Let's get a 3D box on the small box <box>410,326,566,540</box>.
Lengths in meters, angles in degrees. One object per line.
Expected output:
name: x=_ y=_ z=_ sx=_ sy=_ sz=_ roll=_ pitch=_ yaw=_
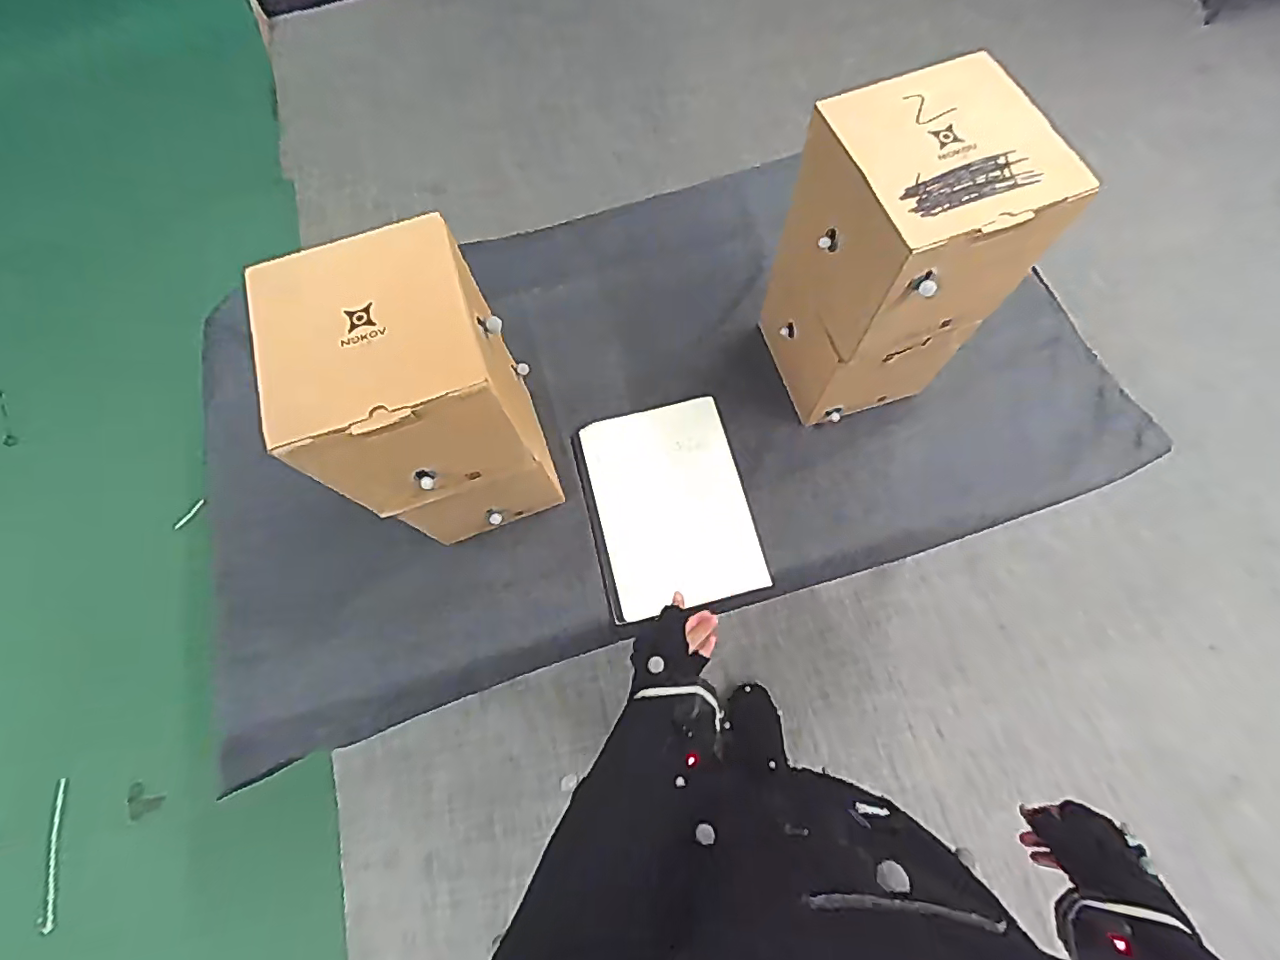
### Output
small box: x=-0.201 y=-0.049 z=0.651 sx=0.168 sy=0.176 sz=0.179 roll=-20 pitch=71 yaw=-4

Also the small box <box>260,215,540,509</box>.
small box: x=-0.205 y=-0.096 z=0.496 sx=0.168 sy=0.176 sz=0.179 roll=-19 pitch=71 yaw=-4

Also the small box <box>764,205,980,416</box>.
small box: x=0.271 y=-0.198 z=0.680 sx=0.168 sy=0.176 sz=0.179 roll=-17 pitch=70 yaw=-3
